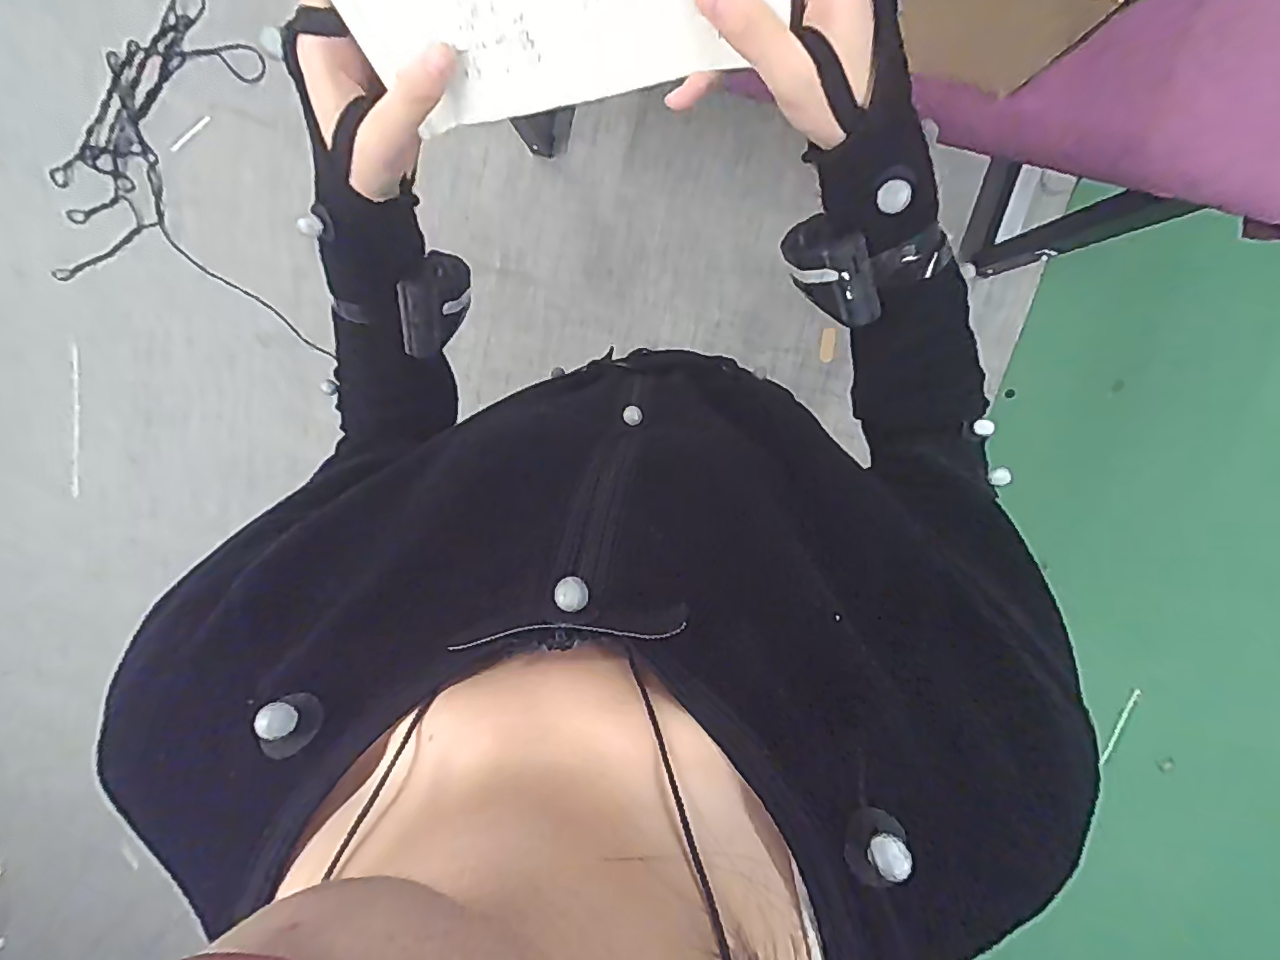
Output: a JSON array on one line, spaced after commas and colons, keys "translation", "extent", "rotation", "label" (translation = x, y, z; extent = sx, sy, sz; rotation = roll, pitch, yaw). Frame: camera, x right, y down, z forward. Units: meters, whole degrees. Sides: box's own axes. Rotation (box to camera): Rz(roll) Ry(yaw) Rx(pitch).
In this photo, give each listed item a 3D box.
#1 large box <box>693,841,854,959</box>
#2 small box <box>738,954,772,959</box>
[{"translation": [0.363, 1.314, 1.580], "extent": [0.408, 0.320, 0.320], "rotation": [0, 102, 2], "label": "large box"}, {"translation": [0.322, 1.328, 1.334], "extent": [0.168, 0.176, 0.179], "rotation": [6, 100, 4], "label": "small box"}]
